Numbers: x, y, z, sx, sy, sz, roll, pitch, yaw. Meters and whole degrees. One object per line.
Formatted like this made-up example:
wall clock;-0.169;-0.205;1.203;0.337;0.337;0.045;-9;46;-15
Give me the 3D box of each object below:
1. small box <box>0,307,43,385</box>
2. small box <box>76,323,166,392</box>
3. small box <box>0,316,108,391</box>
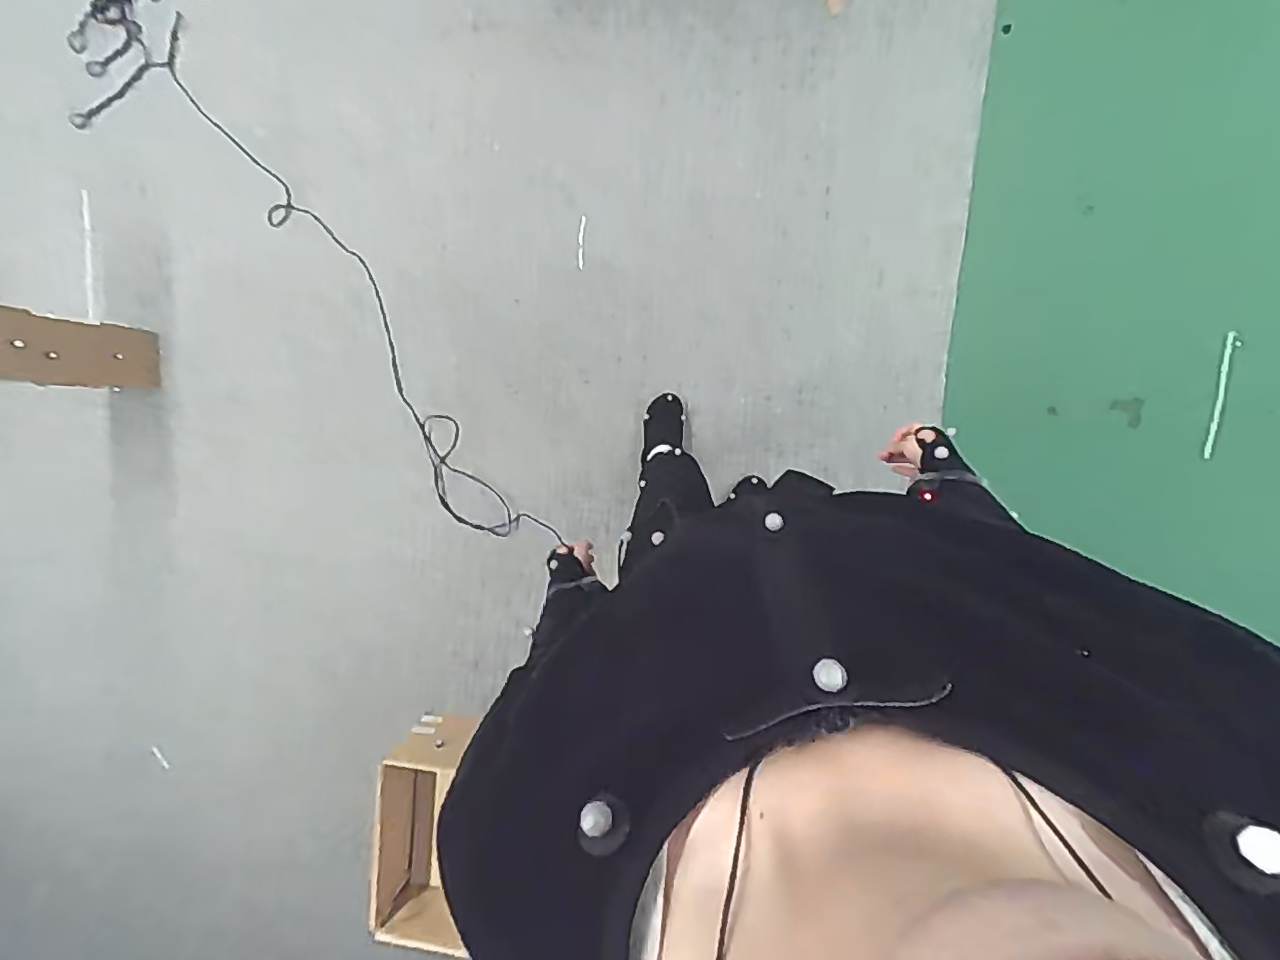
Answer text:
small box;-1.563;-0.321;1.262;0.168;0.176;0.179;2;95;6
small box;-1.542;-0.355;1.587;0.168;0.176;0.179;4;95;6
small box;-1.561;-0.331;1.426;0.168;0.176;0.179;4;95;5
